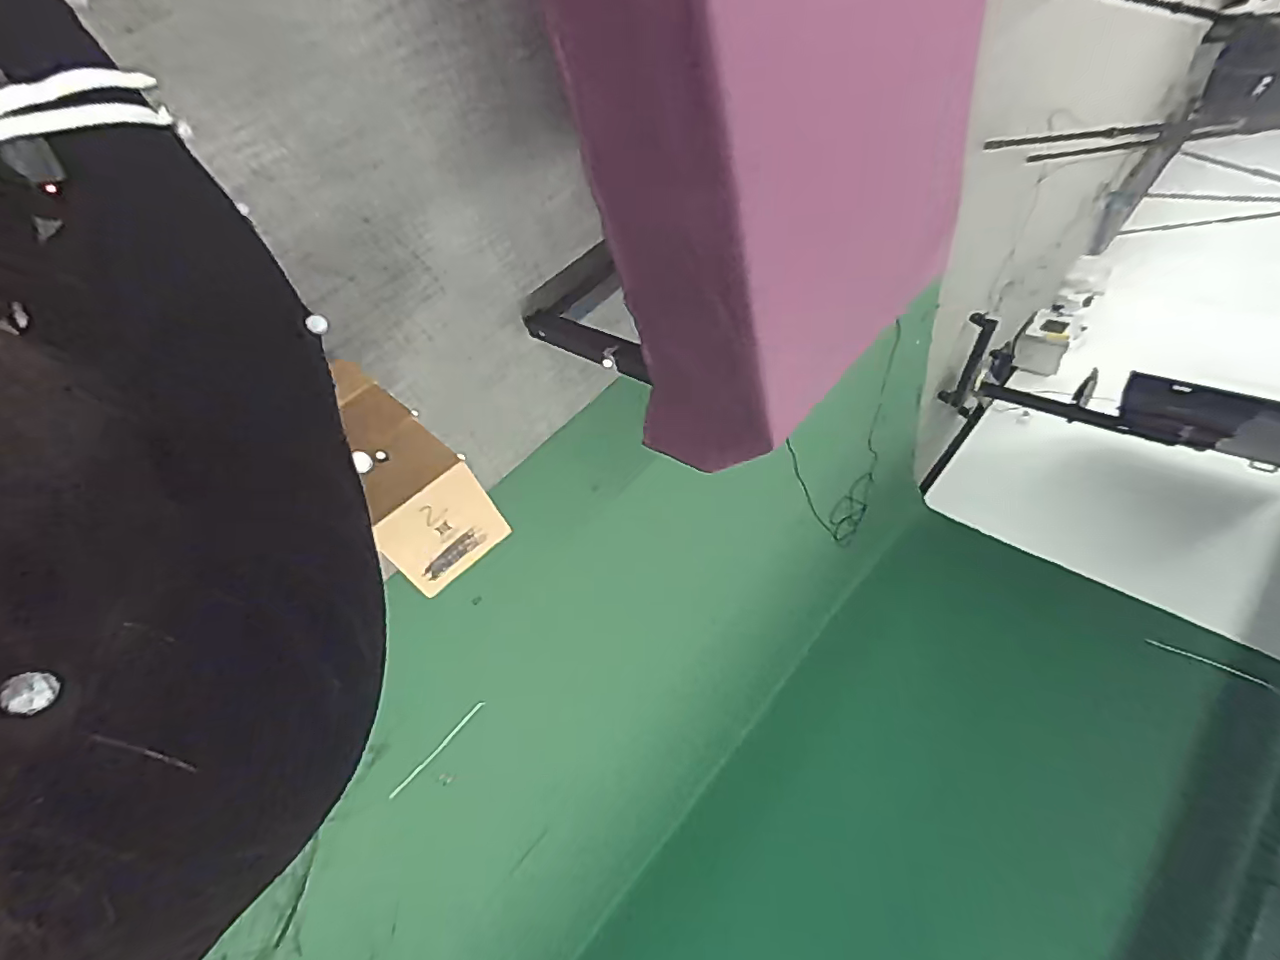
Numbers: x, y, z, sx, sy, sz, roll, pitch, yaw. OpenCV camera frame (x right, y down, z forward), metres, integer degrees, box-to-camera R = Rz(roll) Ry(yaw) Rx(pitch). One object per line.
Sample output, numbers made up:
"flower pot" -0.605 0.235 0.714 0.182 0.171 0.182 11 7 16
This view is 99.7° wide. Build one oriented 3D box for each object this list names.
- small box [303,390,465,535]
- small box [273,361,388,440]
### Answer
"small box" -0.454 -0.040 0.961 0.168 0.176 0.179 -43 141 -19
"small box" -0.568 -0.113 1.053 0.168 0.176 0.179 -42 140 -22
